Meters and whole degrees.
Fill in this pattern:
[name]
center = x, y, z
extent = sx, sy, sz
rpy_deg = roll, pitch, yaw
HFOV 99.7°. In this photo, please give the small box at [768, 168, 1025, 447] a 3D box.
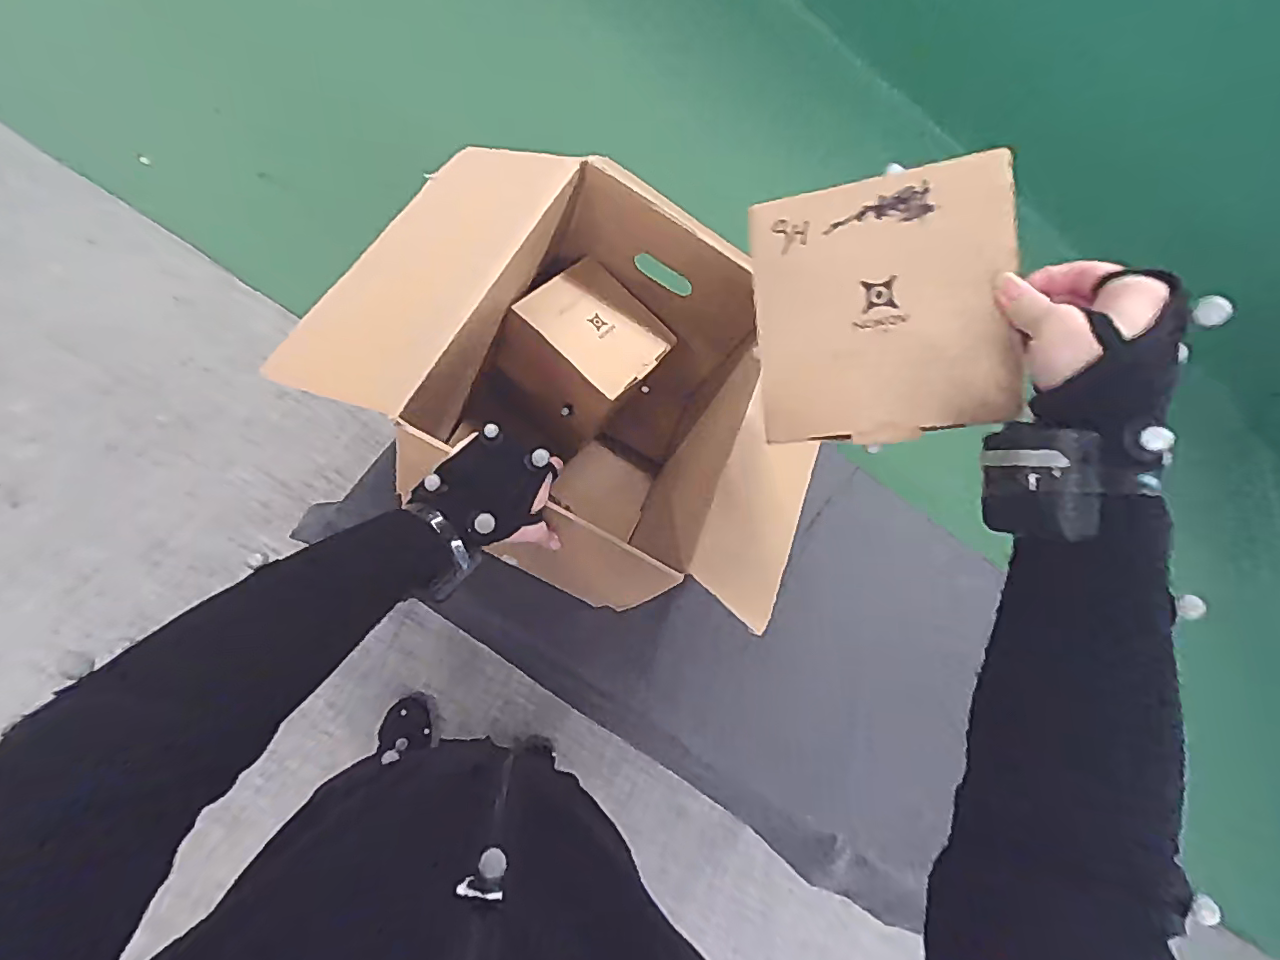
[small box]
center = 0.204, -0.123, 0.461
extent = 0.168, 0.176, 0.179
rpy_deg = -3, 93, 18
